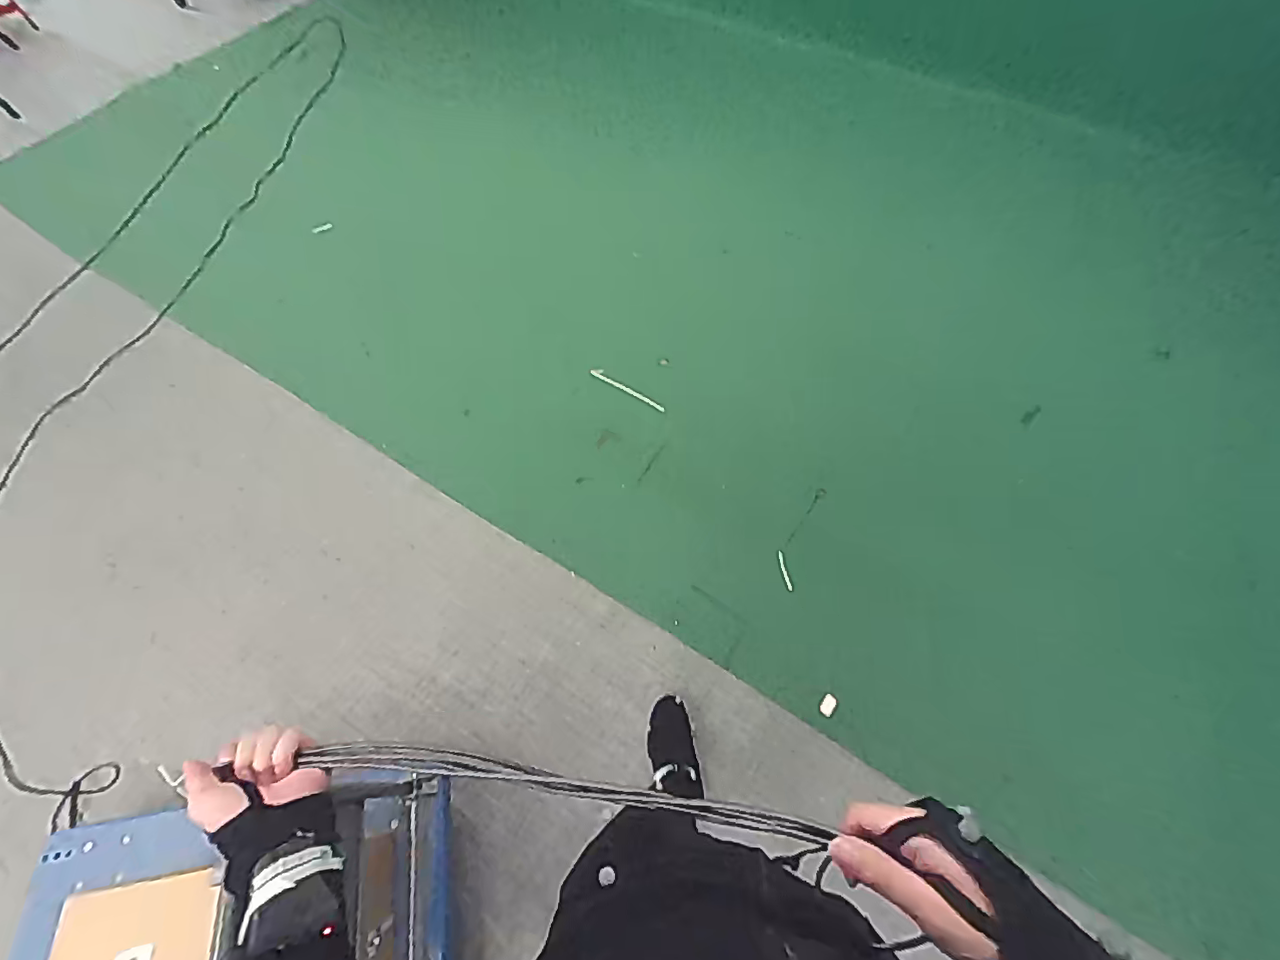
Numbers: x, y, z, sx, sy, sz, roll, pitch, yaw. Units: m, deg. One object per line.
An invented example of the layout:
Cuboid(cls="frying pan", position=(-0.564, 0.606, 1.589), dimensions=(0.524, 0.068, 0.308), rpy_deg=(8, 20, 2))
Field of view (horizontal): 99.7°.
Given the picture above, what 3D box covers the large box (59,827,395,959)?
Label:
Cuboid(cls="large box", position=(-0.696, 0.849, 0.956), dimensions=(0.408, 0.320, 0.320), rpy_deg=(-10, 62, -2))
